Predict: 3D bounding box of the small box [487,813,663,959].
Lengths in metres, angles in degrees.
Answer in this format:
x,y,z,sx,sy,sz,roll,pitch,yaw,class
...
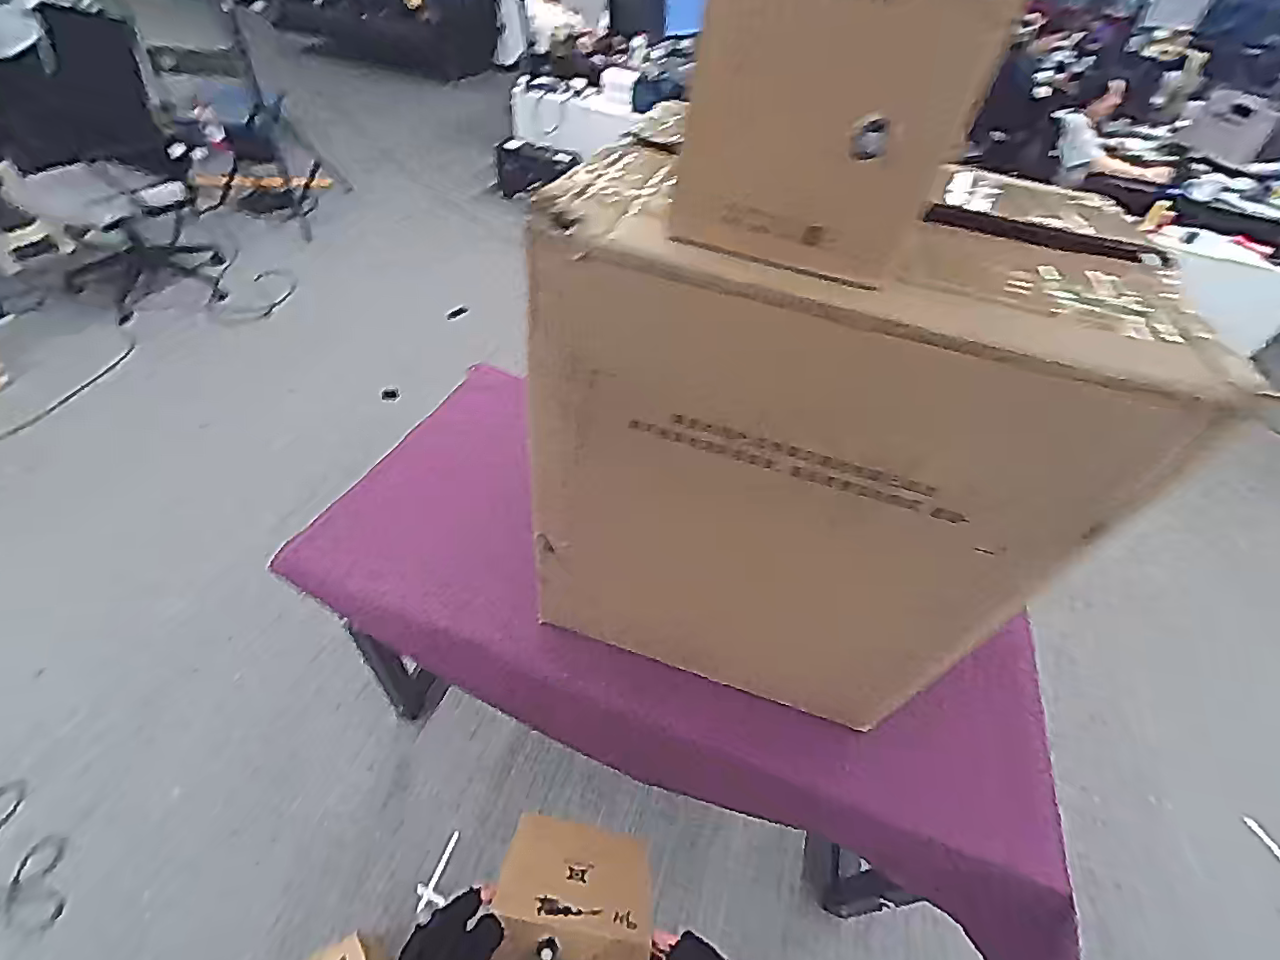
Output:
x,y,z,sx,sy,sz,roll,pitch,yaw,class
-0.074,0.508,0.589,0.168,0.179,0.176,11,85,0,small box

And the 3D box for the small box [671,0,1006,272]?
x,y,z,sx,sy,sz,roll,pitch,yaw,class
0.127,-0.277,0.395,0.168,0.176,0.179,17,46,4,small box

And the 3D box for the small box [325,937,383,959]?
x,y,z,sx,sy,sz,roll,pitch,yaw,class
-0.541,0.979,0.972,0.168,0.176,0.179,-28,57,-30,small box
